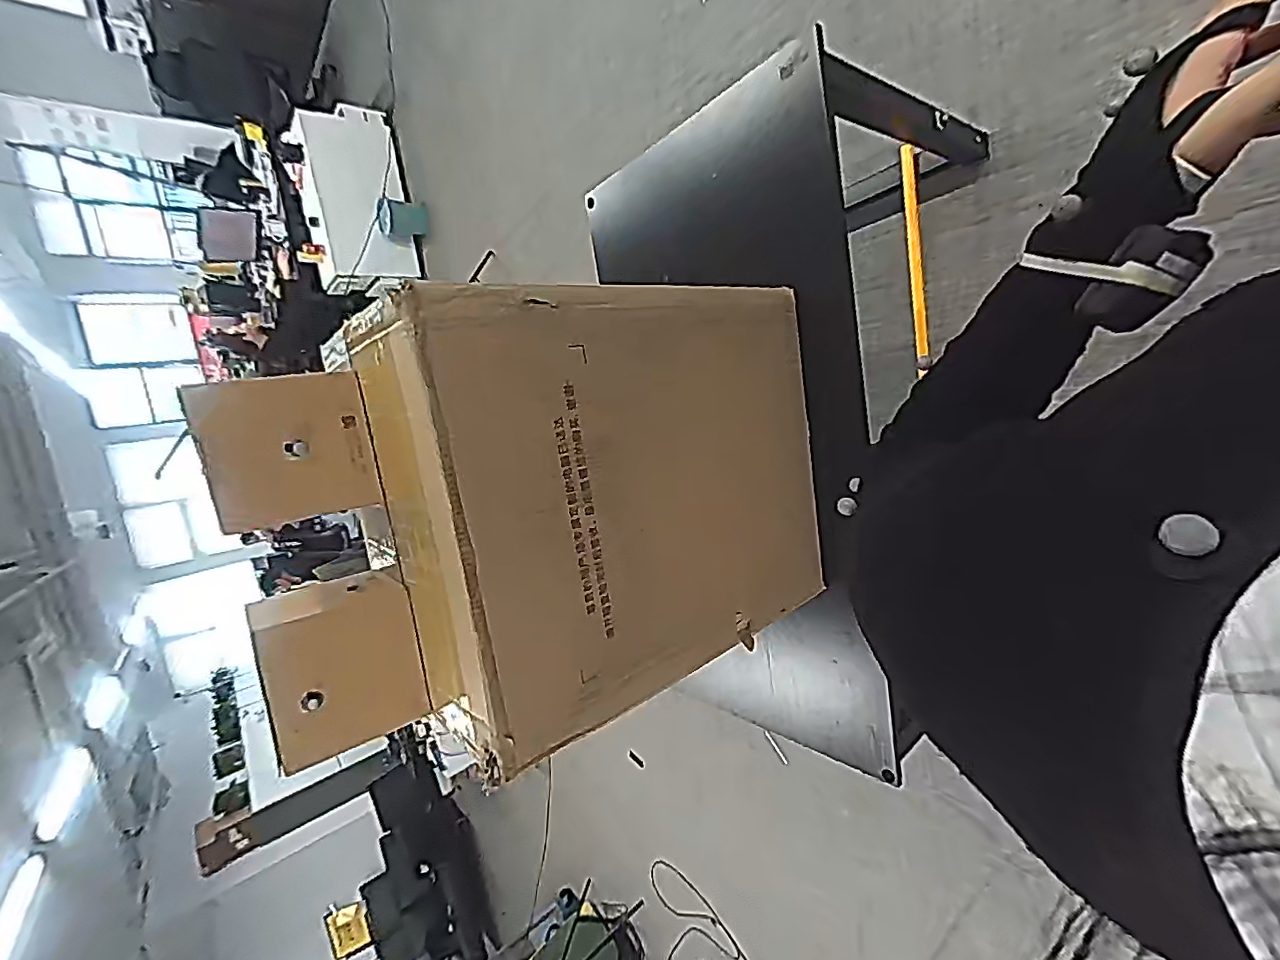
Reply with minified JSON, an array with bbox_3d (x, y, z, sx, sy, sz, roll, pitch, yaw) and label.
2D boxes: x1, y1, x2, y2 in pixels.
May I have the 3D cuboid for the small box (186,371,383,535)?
[{"bbox_3d":[-0.439,-0.043,0.680,0.179,0.176,0.168,7,108,52],"label":"small box"}]

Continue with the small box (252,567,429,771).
[{"bbox_3d":[-0.392,0.231,0.713,0.168,0.176,0.179,2,102,52],"label":"small box"}]
